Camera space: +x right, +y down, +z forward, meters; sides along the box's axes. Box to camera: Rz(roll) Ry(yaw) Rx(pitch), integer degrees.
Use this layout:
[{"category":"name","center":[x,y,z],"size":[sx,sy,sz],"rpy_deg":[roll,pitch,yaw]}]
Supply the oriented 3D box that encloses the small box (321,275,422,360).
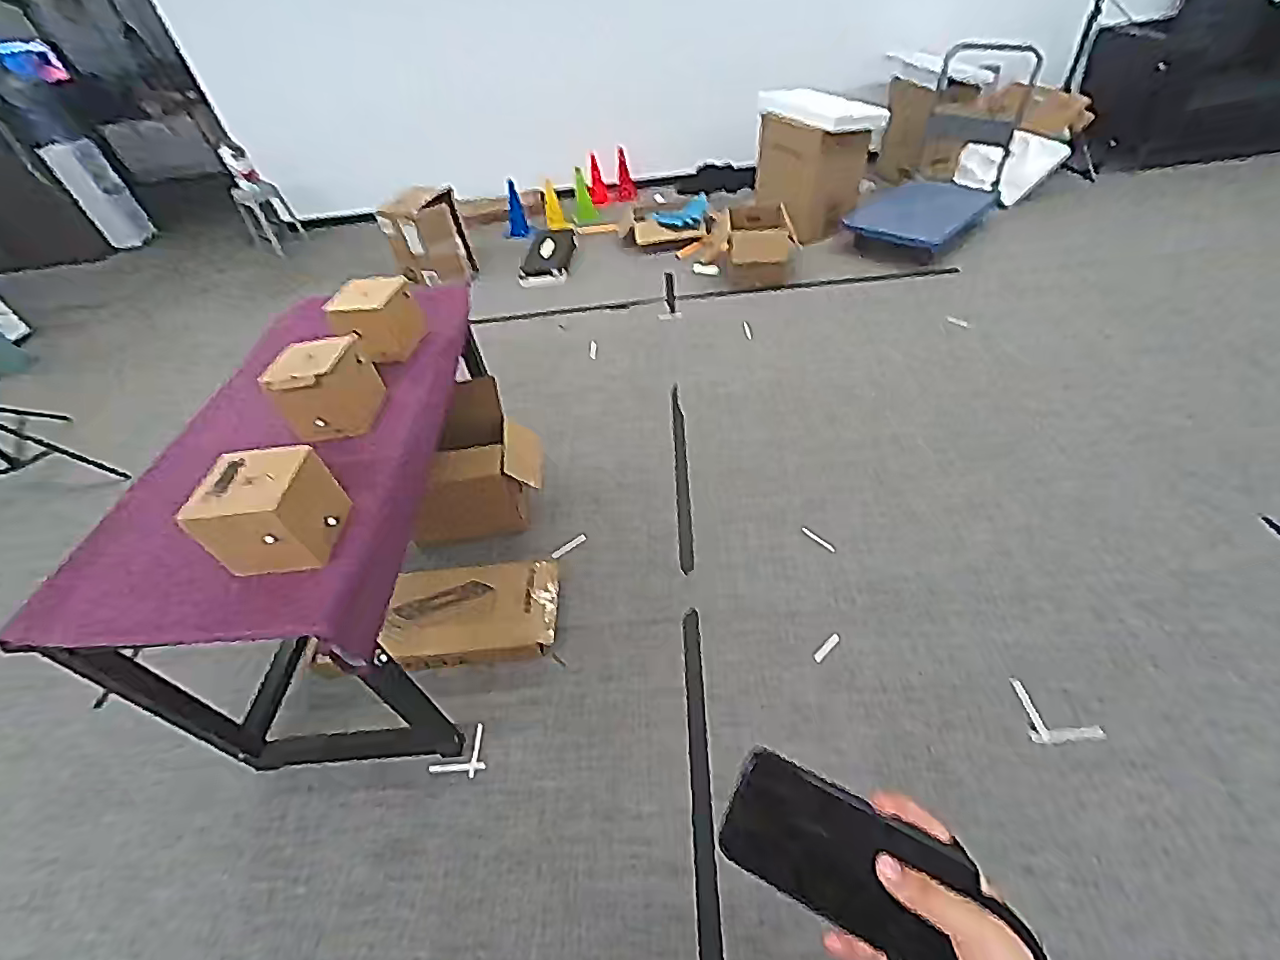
[{"category":"small box","center":[-0.737,-0.447,1.509],"size":[0.168,0.176,0.179],"rpy_deg":[-1,46,7]}]

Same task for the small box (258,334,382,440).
[{"category":"small box","center":[-0.745,-0.220,1.286],"size":[0.168,0.176,0.179],"rpy_deg":[-8,45,4]}]
